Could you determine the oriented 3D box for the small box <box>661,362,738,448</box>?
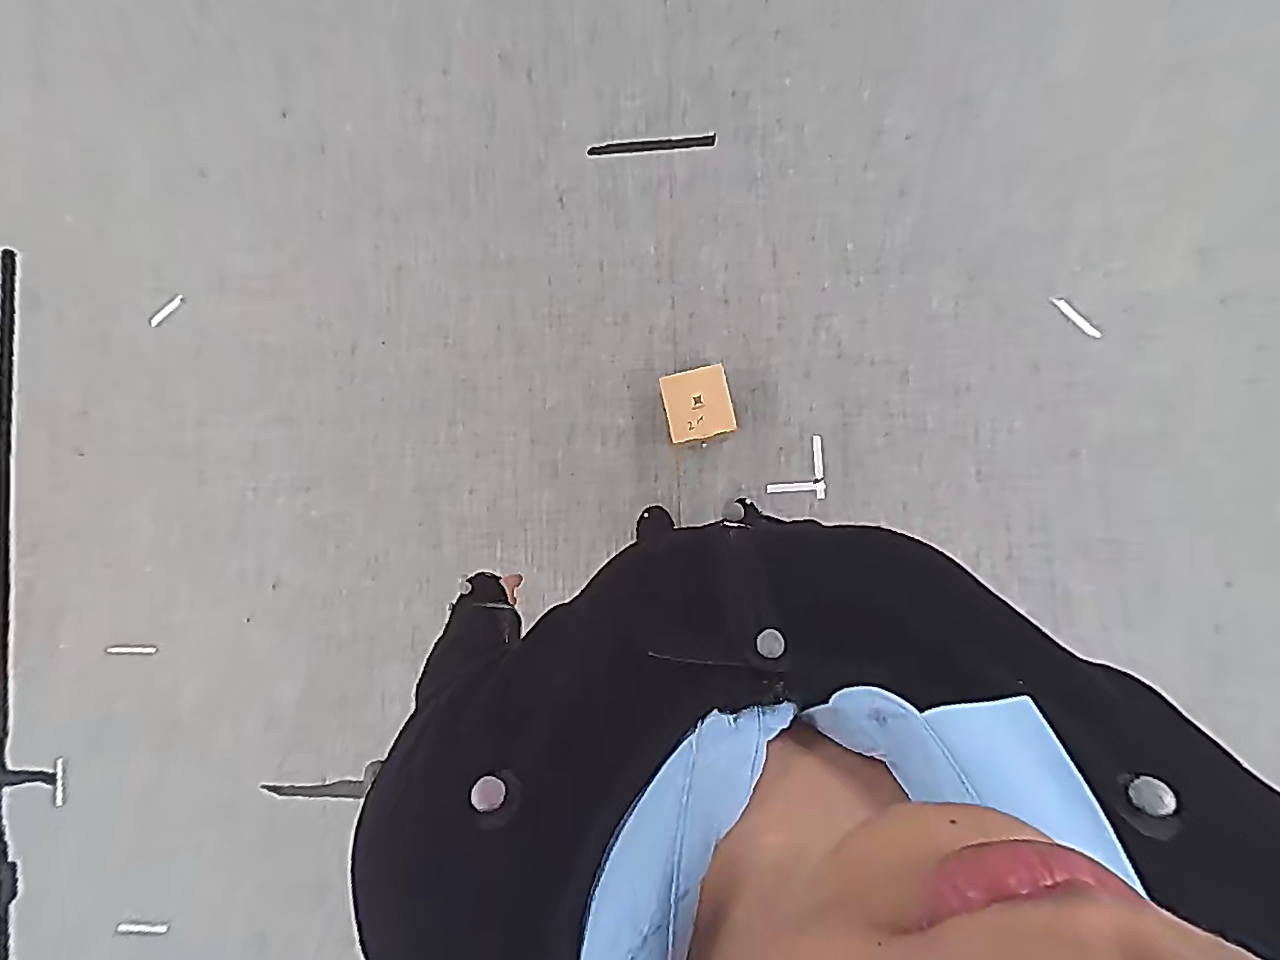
[{"bbox_3d":[0.152,-0.191,1.428,0.168,0.176,0.179,-13,88,4],"label":"small box"}]
